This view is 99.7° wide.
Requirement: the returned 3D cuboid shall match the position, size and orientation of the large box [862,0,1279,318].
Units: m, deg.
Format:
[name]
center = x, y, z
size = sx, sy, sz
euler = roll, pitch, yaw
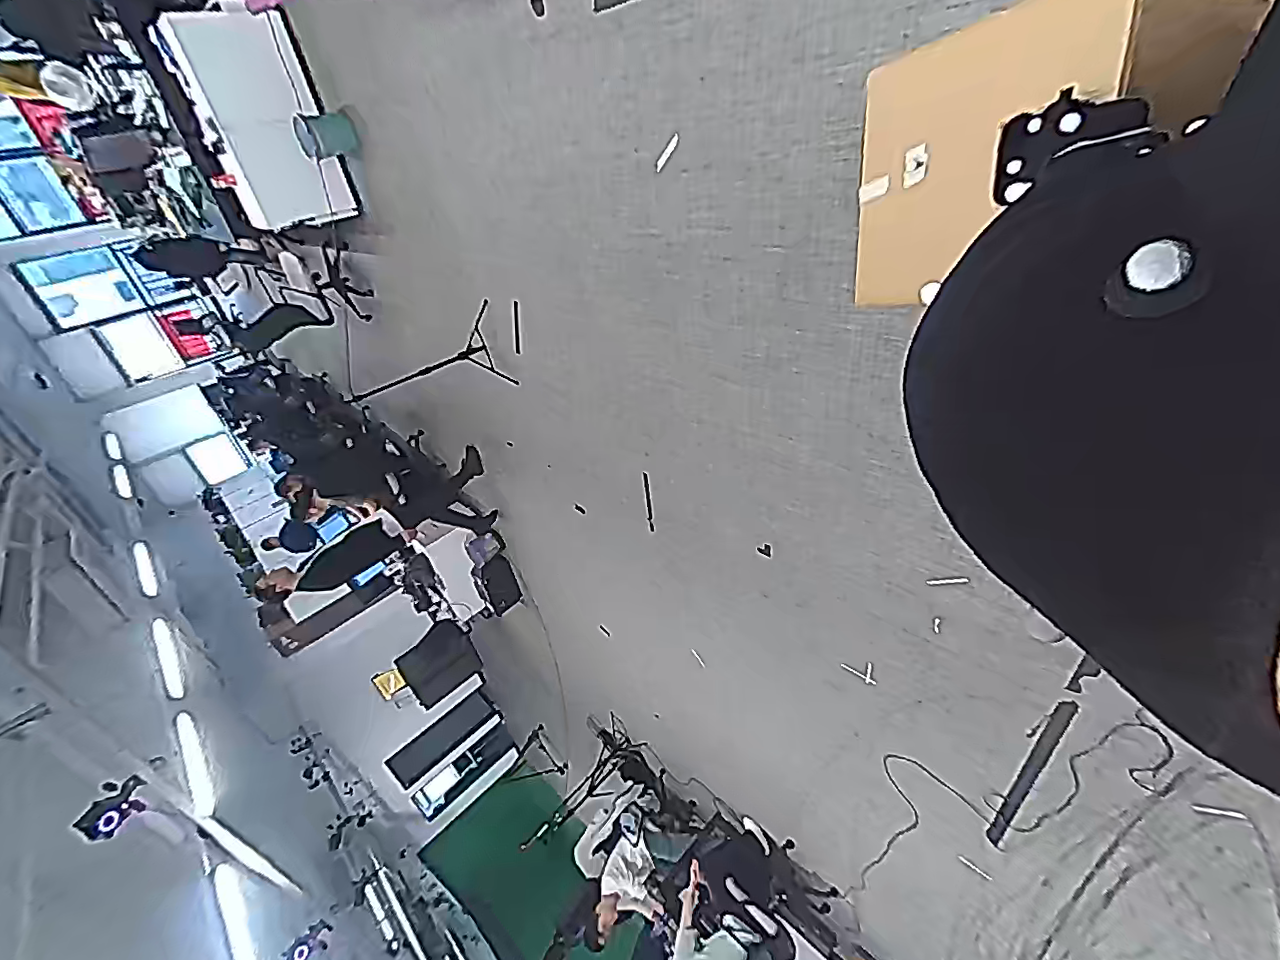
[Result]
[large box]
center = 0.577, -0.414, 0.767
size = 0.320, 0.408, 0.320
euler = 31, 129, 55
